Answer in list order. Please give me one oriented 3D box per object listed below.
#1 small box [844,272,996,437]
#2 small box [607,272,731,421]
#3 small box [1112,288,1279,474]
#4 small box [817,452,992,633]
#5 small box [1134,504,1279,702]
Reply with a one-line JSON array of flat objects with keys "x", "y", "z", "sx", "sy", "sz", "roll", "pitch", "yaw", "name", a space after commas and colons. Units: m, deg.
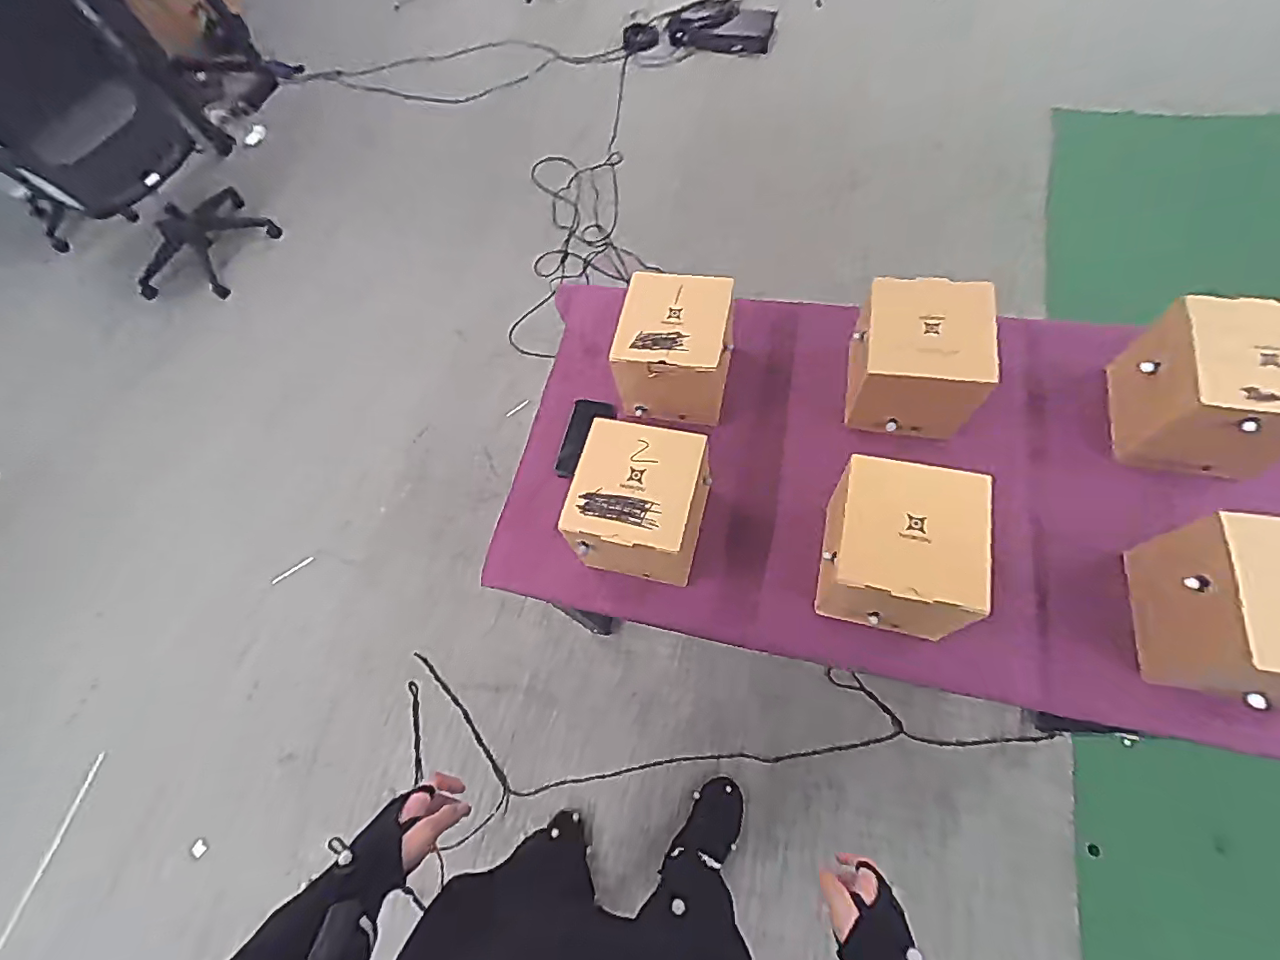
[{"x": 0.416, "y": -0.187, "z": 0.826, "sx": 0.168, "sy": 0.176, "sz": 0.179, "roll": 8, "pitch": 68, "yaw": 13, "name": "small box"}, {"x": 0.058, "y": -0.214, "z": 0.895, "sx": 0.168, "sy": 0.176, "sz": 0.179, "roll": 8, "pitch": 67, "yaw": 12, "name": "small box"}, {"x": 0.791, "y": -0.131, "z": 0.738, "sx": 0.168, "sy": 0.176, "sz": 0.179, "roll": 9, "pitch": 68, "yaw": 14, "name": "small box"}, {"x": 0.338, "y": 0.088, "z": 0.715, "sx": 0.168, "sy": 0.176, "sz": 0.179, "roll": 10, "pitch": 67, "yaw": 13, "name": "small box"}, {"x": 0.719, "y": 0.147, "z": 0.621, "sx": 0.168, "sy": 0.176, "sz": 0.179, "roll": 7, "pitch": 68, "yaw": 14, "name": "small box"}]
